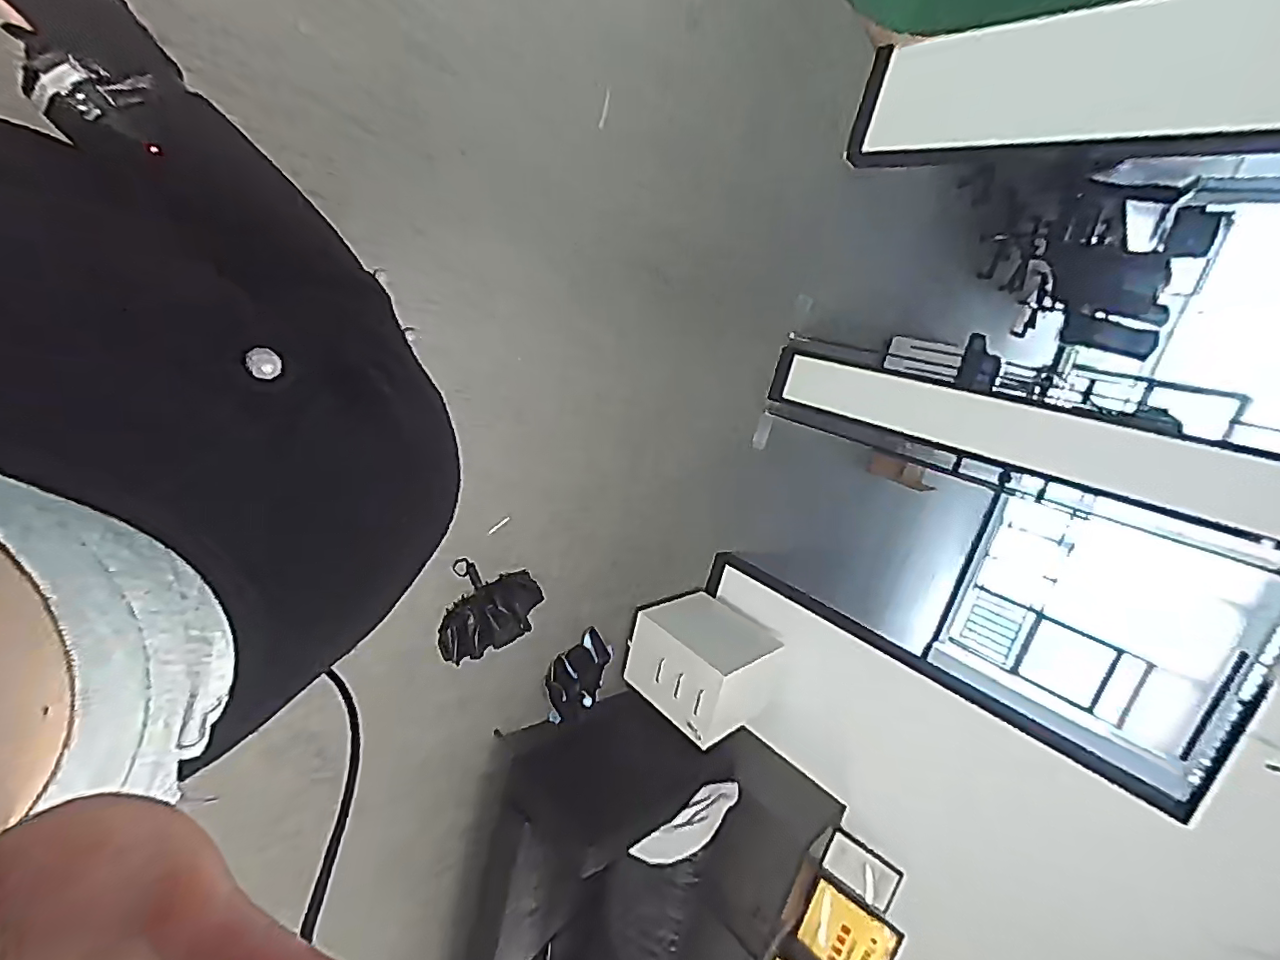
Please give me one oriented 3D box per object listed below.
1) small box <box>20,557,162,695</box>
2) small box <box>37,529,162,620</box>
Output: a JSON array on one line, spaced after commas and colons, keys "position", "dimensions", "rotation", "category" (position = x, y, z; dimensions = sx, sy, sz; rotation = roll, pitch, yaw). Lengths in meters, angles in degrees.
[{"position": [-1.080, 0.280, 1.075], "dimensions": [0.168, 0.176, 0.179], "rotation": [-14, 119, -40], "category": "small box"}, {"position": [-1.185, 0.223, 1.189], "dimensions": [0.168, 0.176, 0.179], "rotation": [-15, 122, -39], "category": "small box"}]
